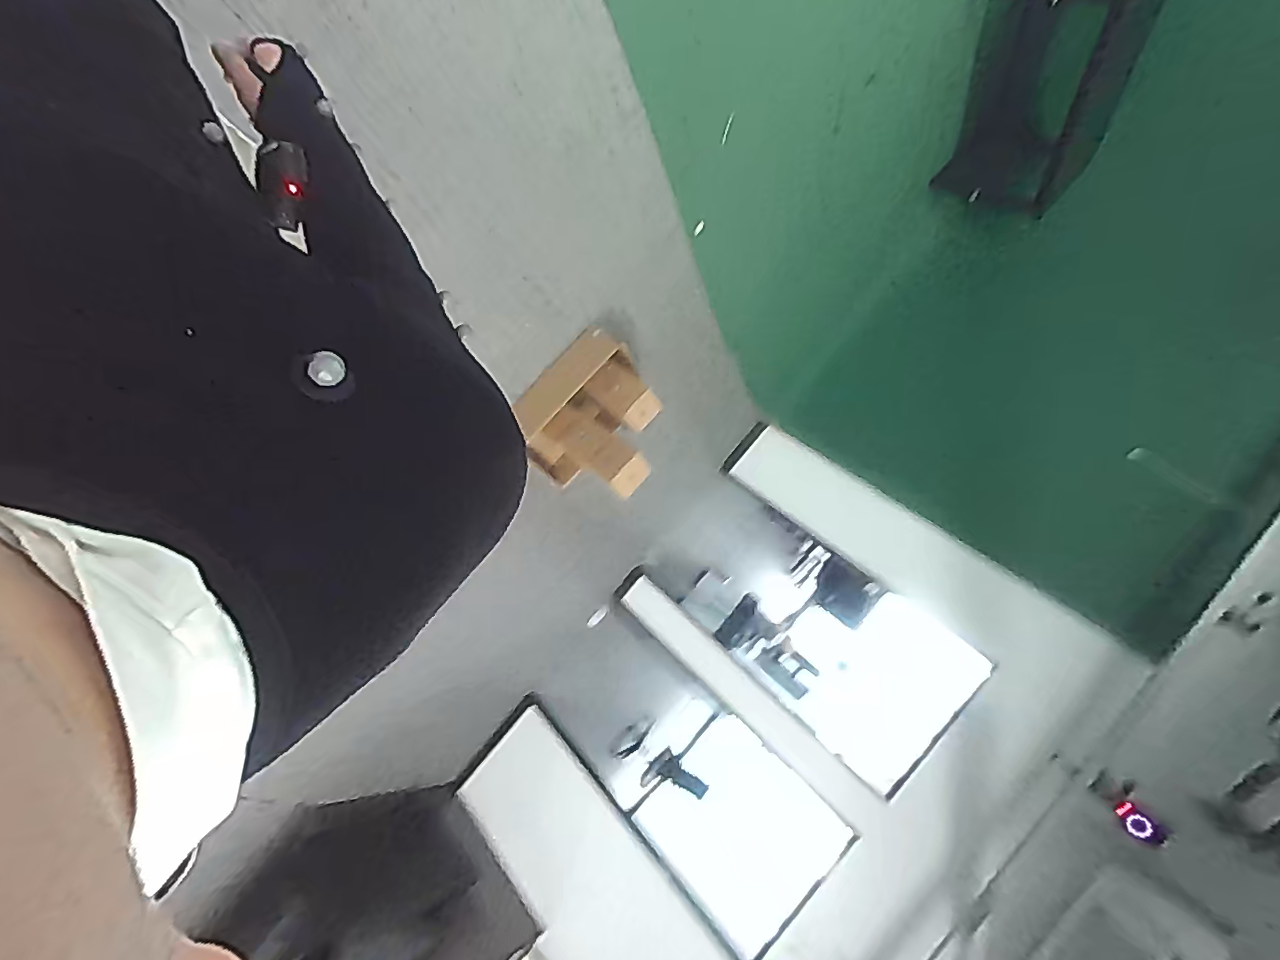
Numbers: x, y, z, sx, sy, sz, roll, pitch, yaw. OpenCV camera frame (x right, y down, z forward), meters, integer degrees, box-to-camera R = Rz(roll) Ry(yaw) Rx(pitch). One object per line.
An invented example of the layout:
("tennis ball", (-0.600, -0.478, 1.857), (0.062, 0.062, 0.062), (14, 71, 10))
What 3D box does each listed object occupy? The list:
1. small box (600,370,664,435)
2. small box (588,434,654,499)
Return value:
("small box", (-0.035, -0.325, 2.231), (0.168, 0.176, 0.179), (-48, 150, -3))
("small box", (-0.079, -0.061, 2.145), (0.168, 0.176, 0.179), (-48, 149, -7))
